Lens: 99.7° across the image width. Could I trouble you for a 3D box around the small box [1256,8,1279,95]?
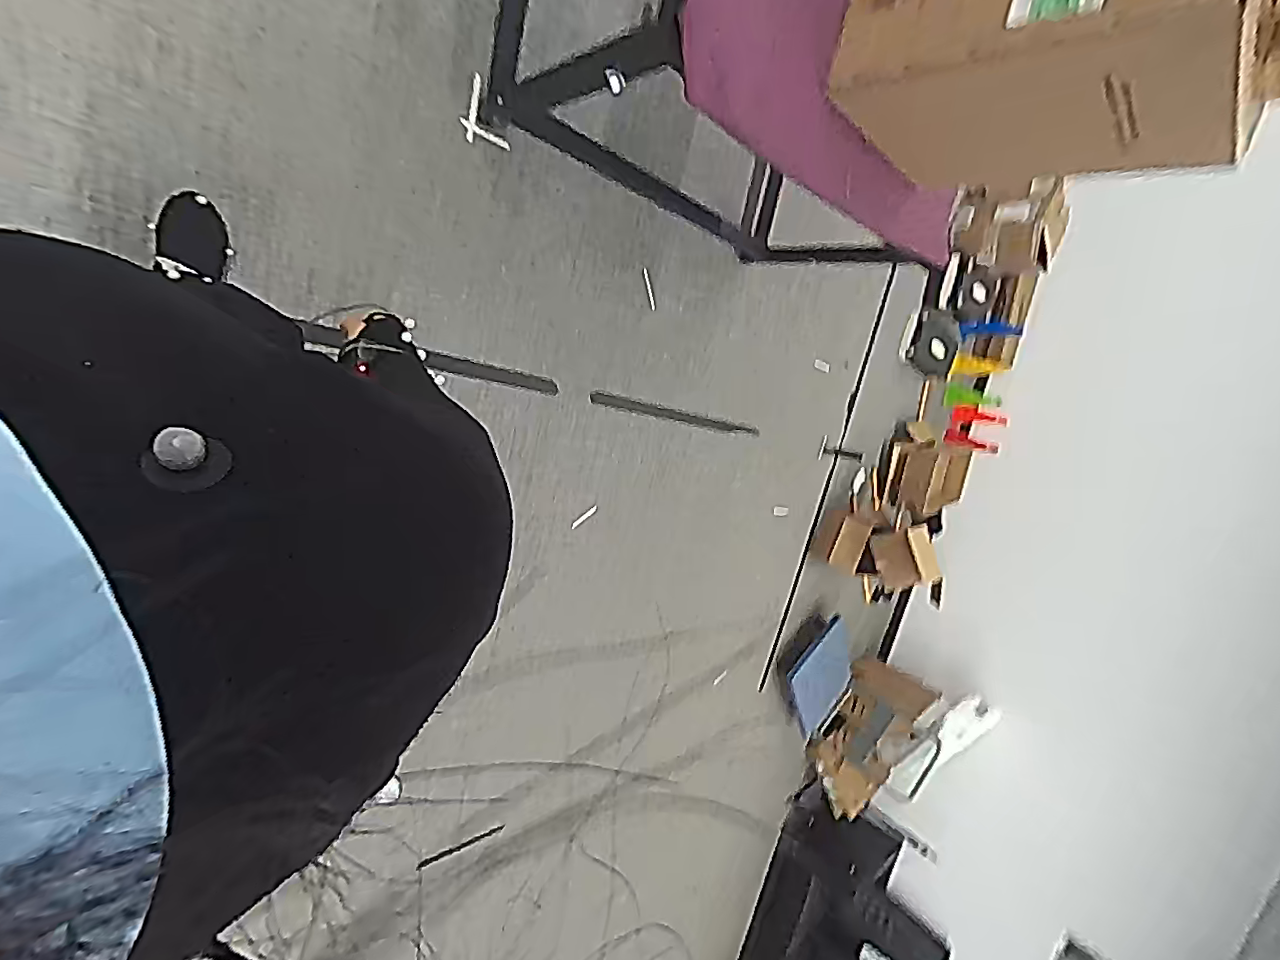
[{"bbox_3d":[1.145,-0.758,0.862,0.168,0.176,0.179,-2,109,-42],"label":"small box"}]
